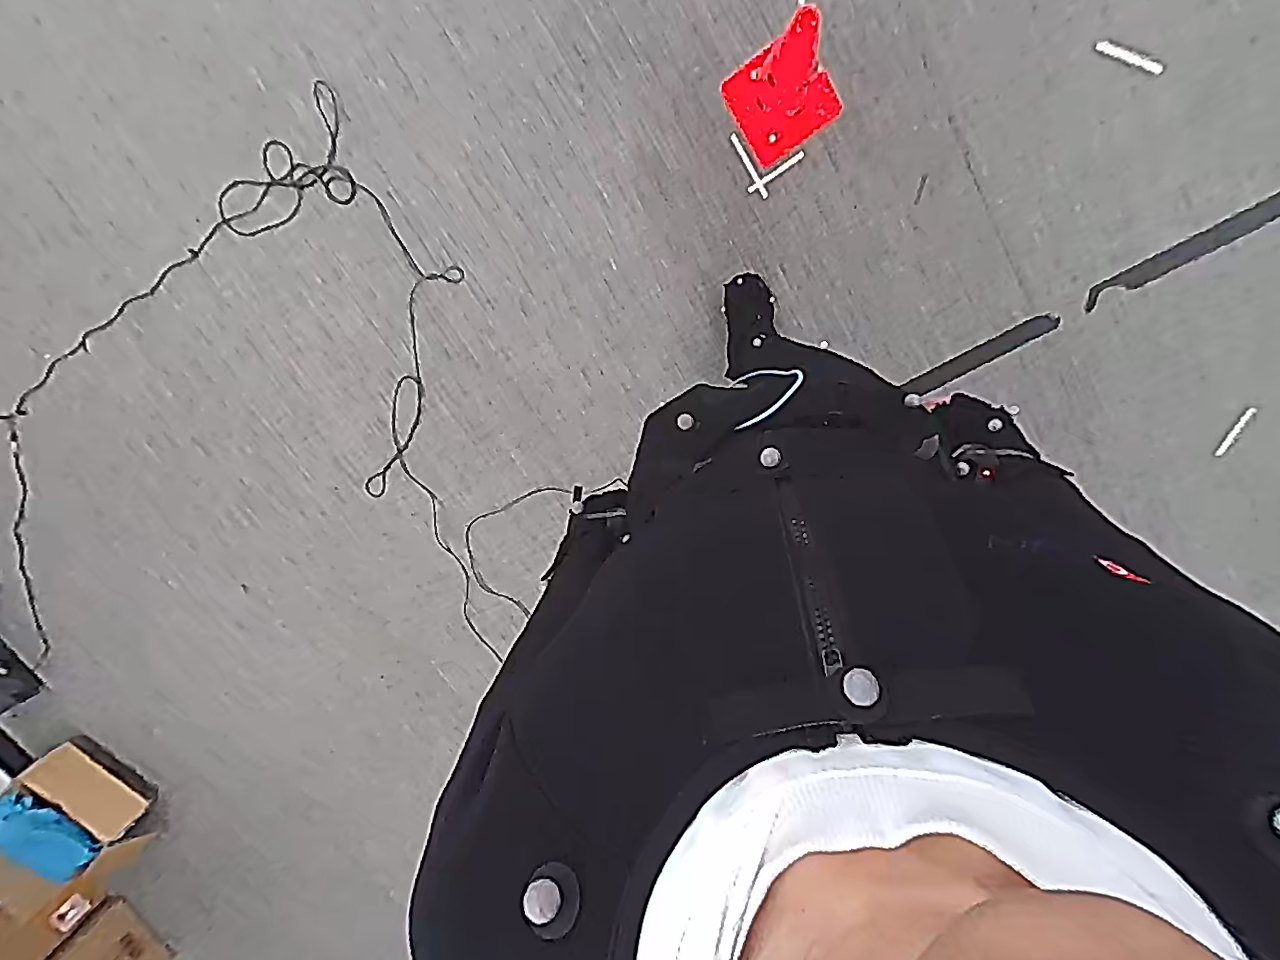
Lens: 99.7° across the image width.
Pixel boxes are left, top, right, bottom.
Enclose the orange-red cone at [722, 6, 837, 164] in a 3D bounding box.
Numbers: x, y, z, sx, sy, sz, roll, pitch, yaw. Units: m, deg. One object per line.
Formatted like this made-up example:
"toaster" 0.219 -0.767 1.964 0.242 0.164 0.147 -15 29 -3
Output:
"orange-red cone" 0.280 -0.767 1.000 0.199 0.360 0.198 -30 103 14
